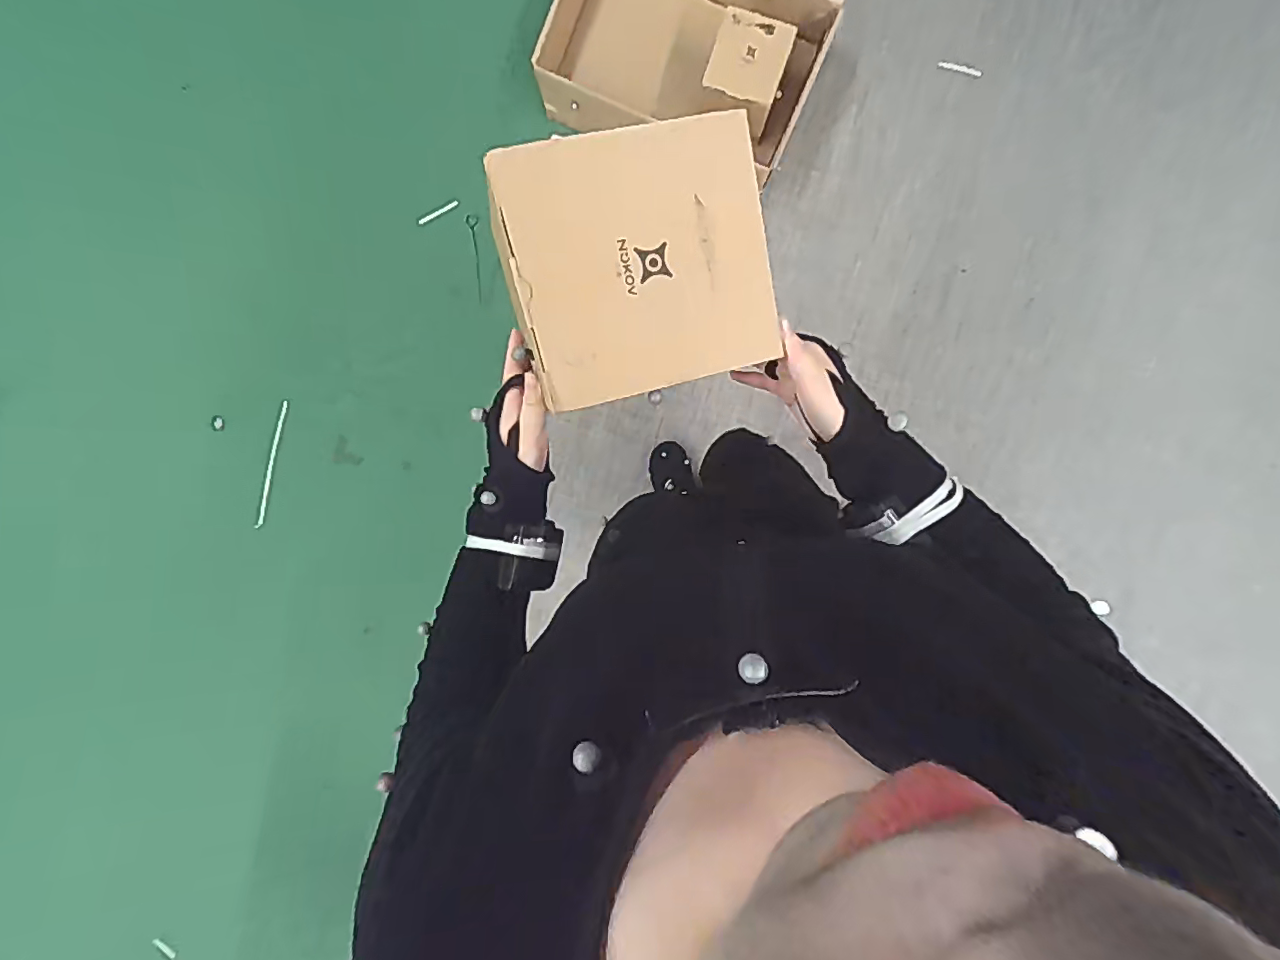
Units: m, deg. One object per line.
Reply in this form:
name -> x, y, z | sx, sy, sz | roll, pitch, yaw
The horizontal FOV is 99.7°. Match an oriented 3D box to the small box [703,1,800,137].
small box -> 0.252, -0.947, 1.265 | 0.168, 0.176, 0.179 | 19, 97, 1

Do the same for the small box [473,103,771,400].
small box -> -0.020, -0.166, 0.437 | 0.179, 0.176, 0.168 | -15, 106, -10
